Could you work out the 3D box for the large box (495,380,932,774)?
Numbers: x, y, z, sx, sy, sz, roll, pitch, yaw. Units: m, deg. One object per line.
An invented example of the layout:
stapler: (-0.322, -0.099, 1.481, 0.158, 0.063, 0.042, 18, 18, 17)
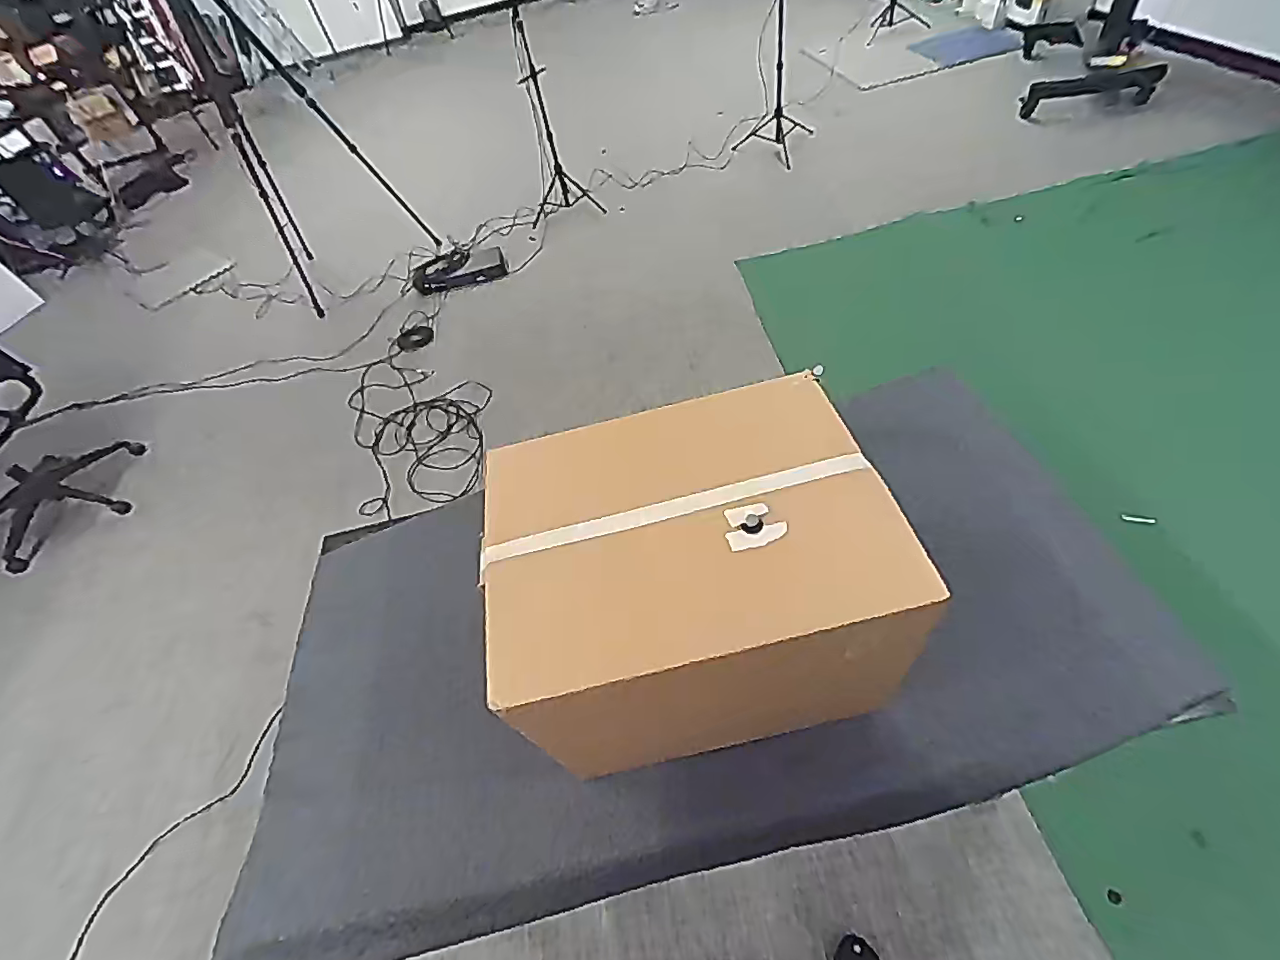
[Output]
large box: (0.063, 0.130, 0.685, 0.408, 0.320, 0.320, -14, 51, 0)
